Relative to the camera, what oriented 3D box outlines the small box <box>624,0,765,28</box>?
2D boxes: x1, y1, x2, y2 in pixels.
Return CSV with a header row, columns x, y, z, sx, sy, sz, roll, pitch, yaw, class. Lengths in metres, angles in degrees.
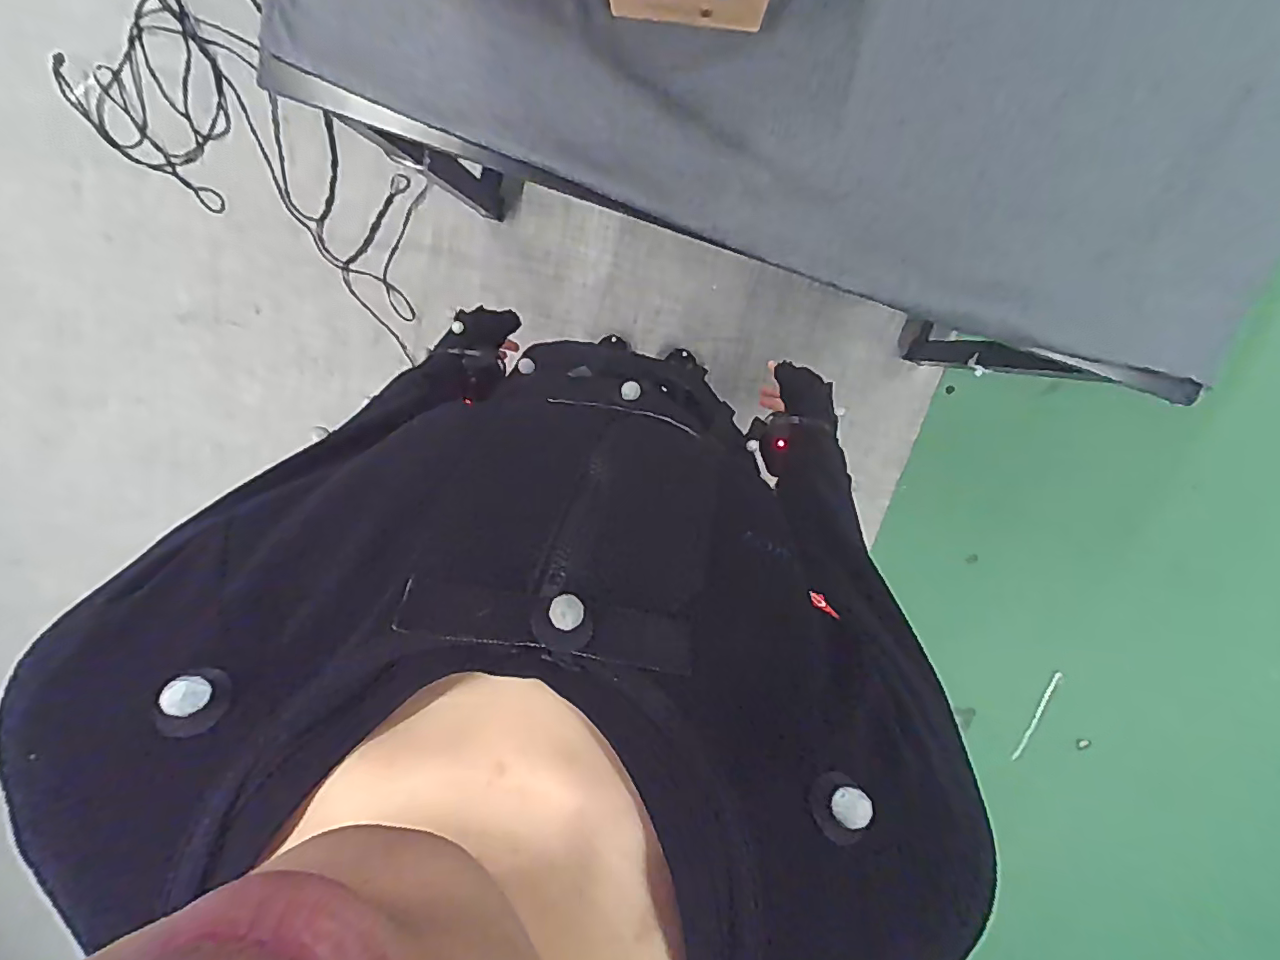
x,y,z,sx,sy,sz,roll,pitch,yaw,class
0.058,-0.569,0.502,0.168,0.176,0.179,7,104,-1,small box
